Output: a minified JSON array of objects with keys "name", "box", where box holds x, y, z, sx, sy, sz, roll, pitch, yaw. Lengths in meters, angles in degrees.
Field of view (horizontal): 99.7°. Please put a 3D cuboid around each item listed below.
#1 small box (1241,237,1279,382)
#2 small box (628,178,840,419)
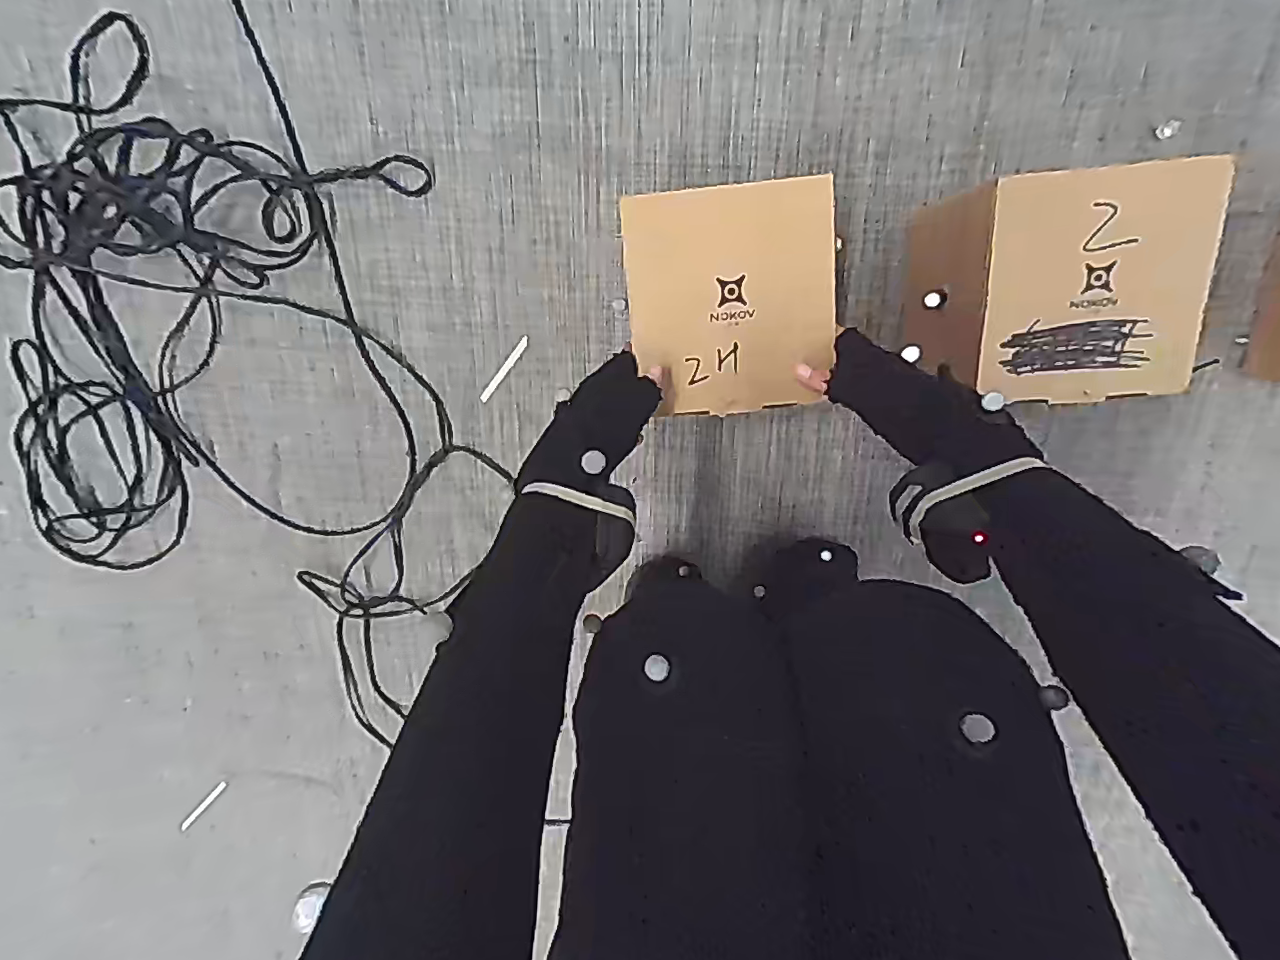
[{"name":"small box","box":[0.713,-0.167,0.479,0.168,0.176,0.179,-1,109,6]},{"name":"small box","box":[0.079,-0.156,0.509,0.168,0.176,0.179,-4,102,4]}]
